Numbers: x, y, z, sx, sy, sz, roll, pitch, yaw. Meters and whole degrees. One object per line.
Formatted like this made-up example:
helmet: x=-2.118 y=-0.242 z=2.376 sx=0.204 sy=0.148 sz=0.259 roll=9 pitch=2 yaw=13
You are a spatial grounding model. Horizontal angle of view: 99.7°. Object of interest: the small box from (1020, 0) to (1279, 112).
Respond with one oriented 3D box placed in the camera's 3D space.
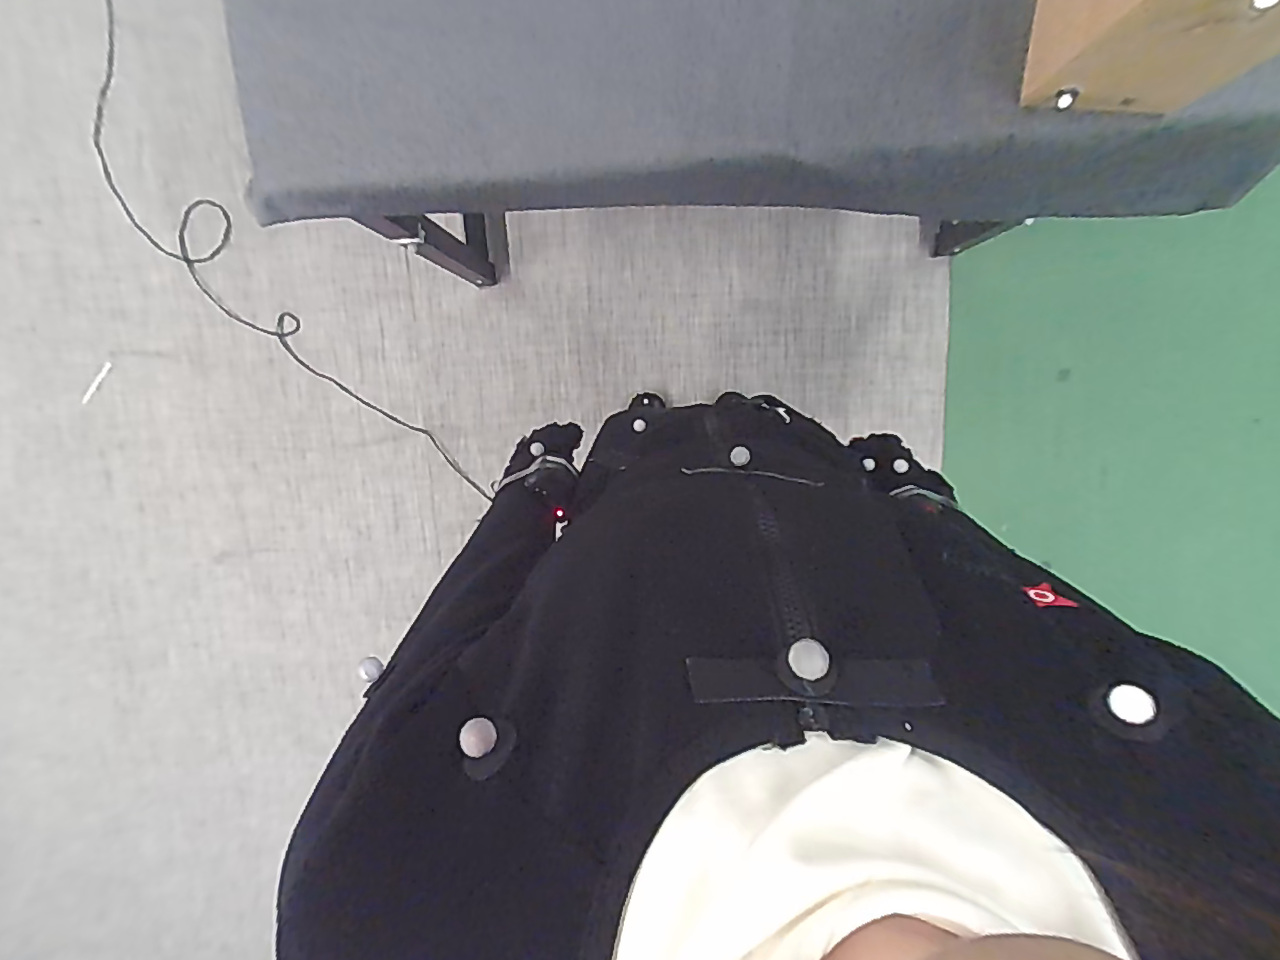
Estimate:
small box: x=0.507 y=-0.488 z=0.517 sx=0.168 sy=0.176 sz=0.179 roll=5 pitch=98 yaw=2
